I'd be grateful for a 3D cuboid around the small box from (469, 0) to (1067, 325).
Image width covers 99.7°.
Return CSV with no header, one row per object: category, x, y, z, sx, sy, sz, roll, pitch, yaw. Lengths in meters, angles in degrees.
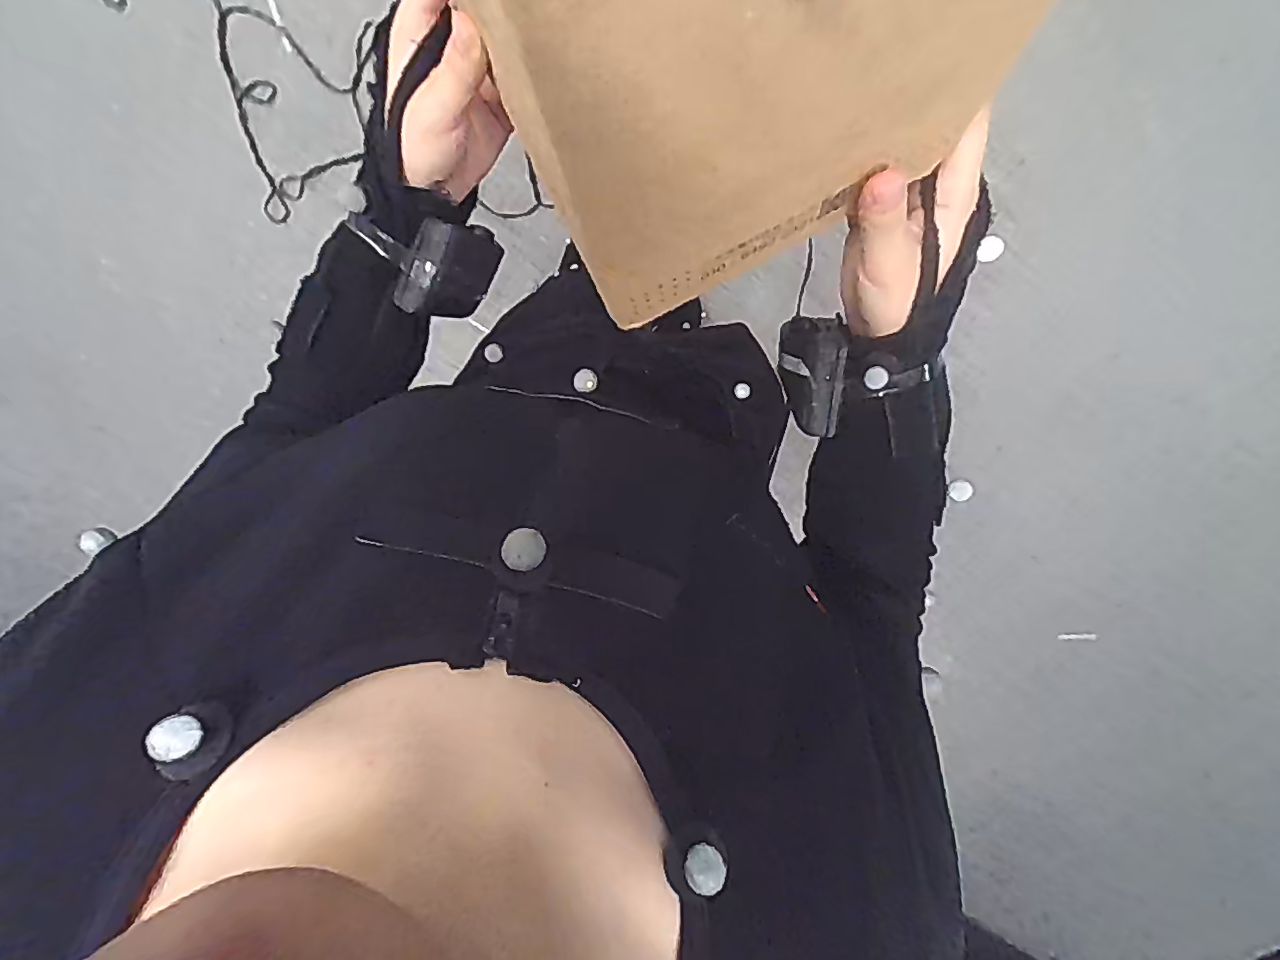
small box,0.026,-0.188,0.188,0.168,0.176,0.179,-28,83,3
